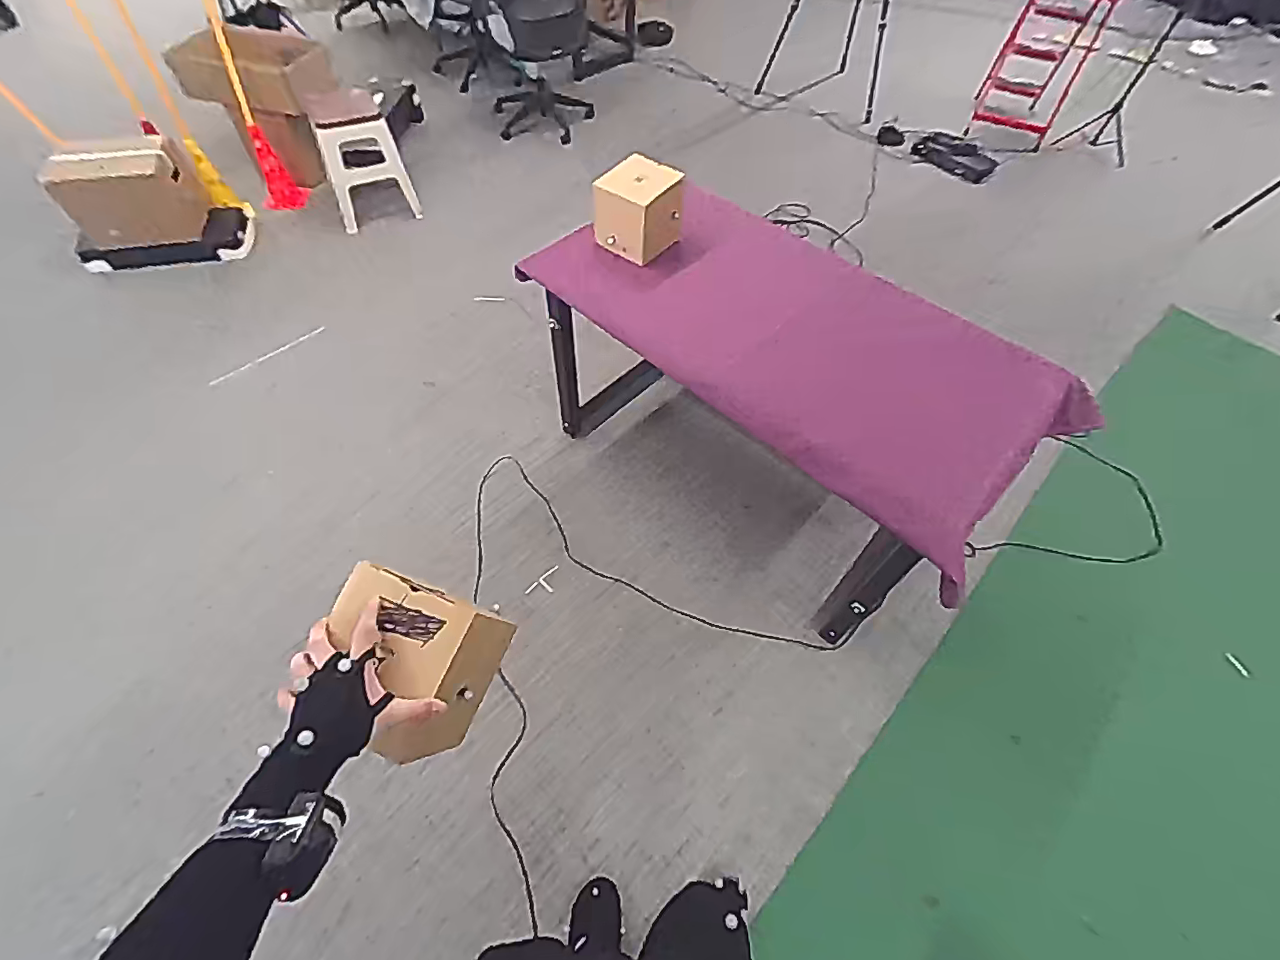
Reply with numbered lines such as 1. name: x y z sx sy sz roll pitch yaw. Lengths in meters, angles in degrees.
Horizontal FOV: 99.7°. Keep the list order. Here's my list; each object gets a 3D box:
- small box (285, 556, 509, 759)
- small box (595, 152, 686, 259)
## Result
1. small box: -0.289 0.220 0.692 0.168 0.176 0.179 21 75 13
2. small box: -0.001 -0.714 1.413 0.168 0.176 0.179 33 62 19
